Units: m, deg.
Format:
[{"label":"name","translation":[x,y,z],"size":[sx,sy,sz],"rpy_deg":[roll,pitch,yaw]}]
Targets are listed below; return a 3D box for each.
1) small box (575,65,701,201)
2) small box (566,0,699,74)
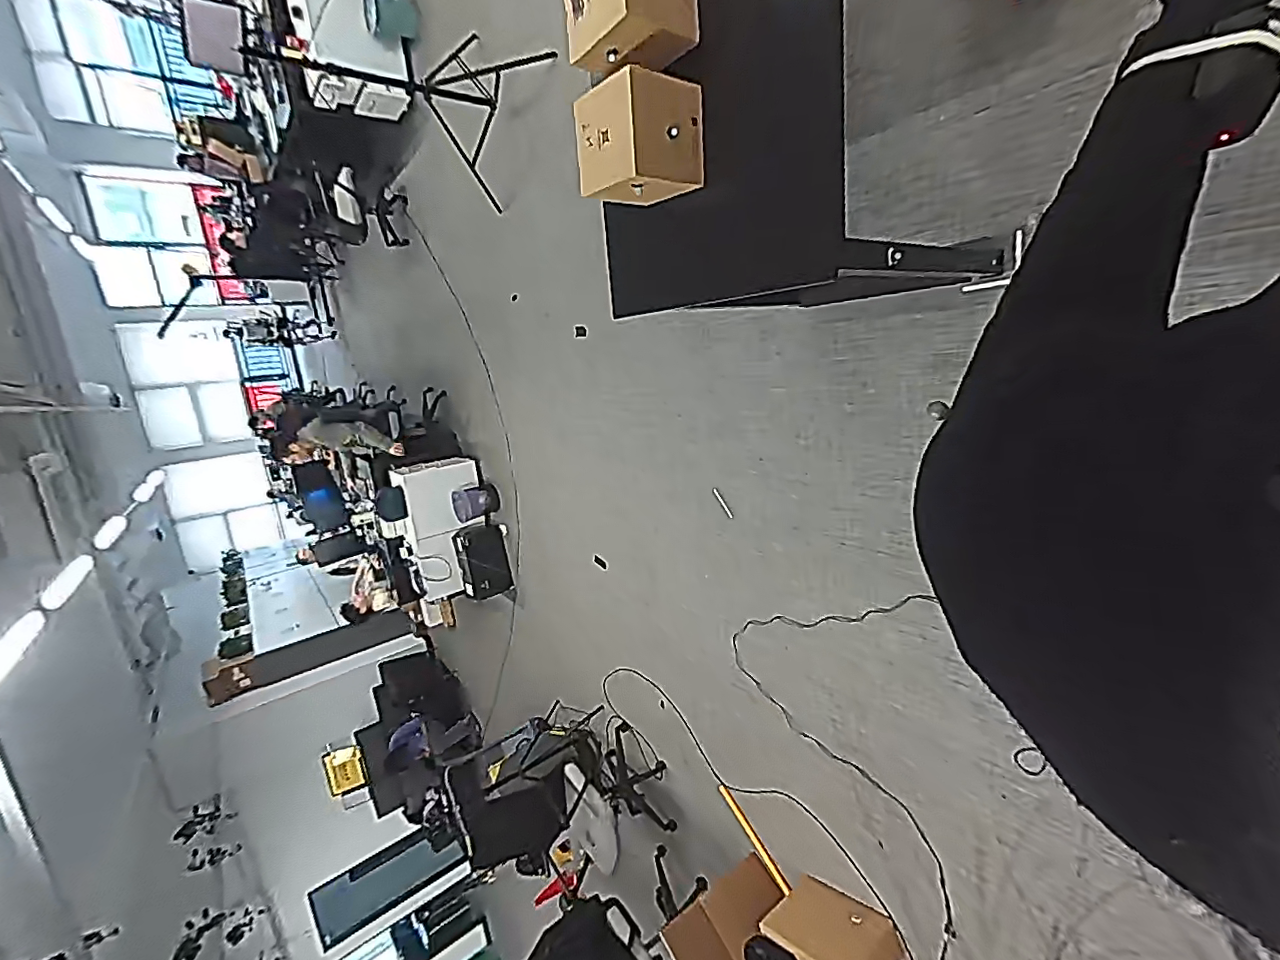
[{"label":"small box","translation":[0.001,-0.633,1.011],"size":[0.179,0.176,0.168],"rpy_deg":[17,115,51]},{"label":"small box","translation":[-0.017,-0.850,0.955],"size":[0.179,0.176,0.168],"rpy_deg":[11,111,51]}]
